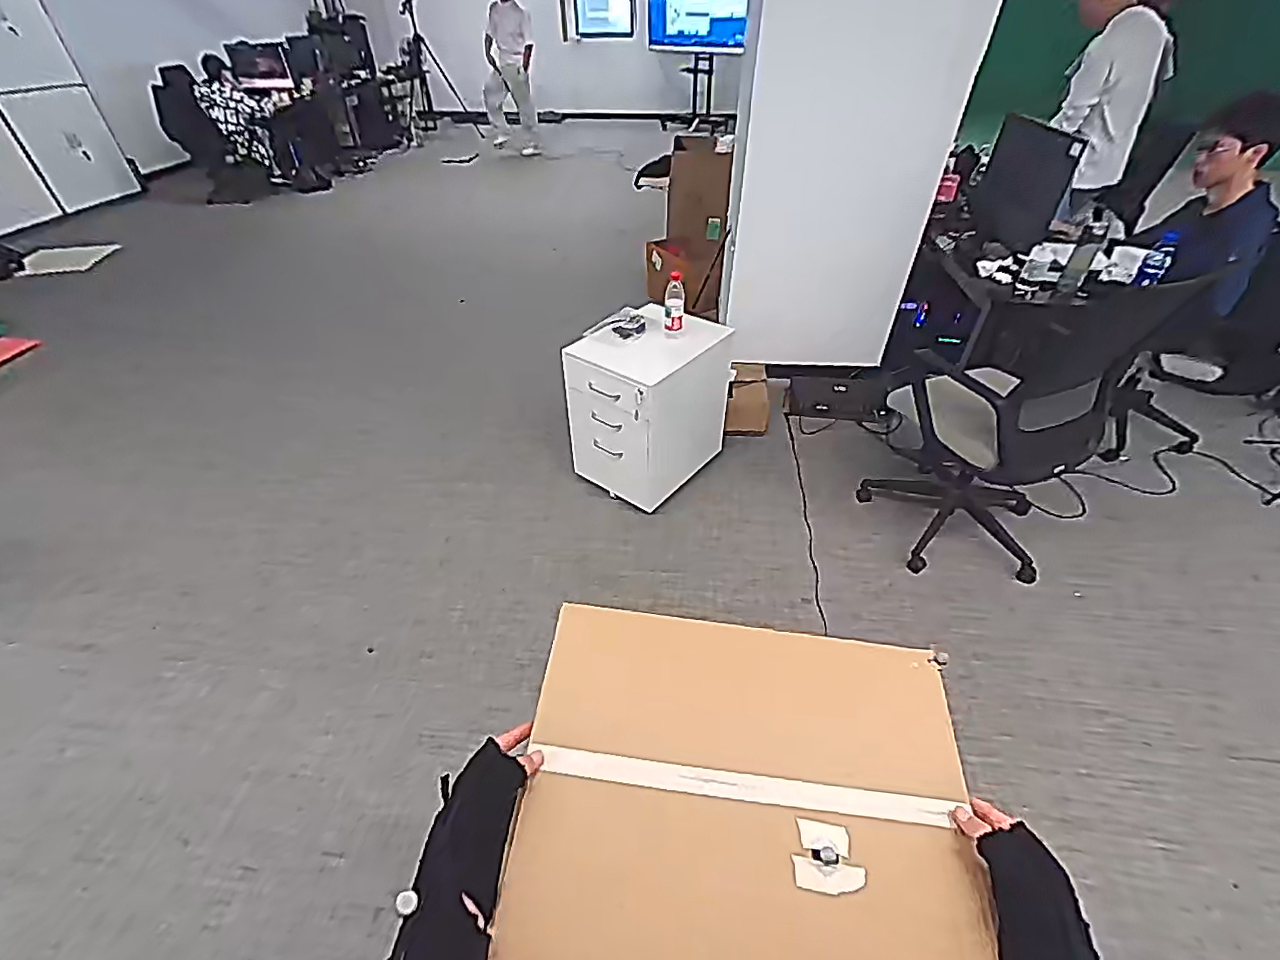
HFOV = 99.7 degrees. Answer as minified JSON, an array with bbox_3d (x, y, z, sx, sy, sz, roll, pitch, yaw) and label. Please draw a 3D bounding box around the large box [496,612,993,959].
[{"bbox_3d":[0.092,0.381,0.619,0.408,0.320,0.320,7,51,3],"label":"large box"}]
